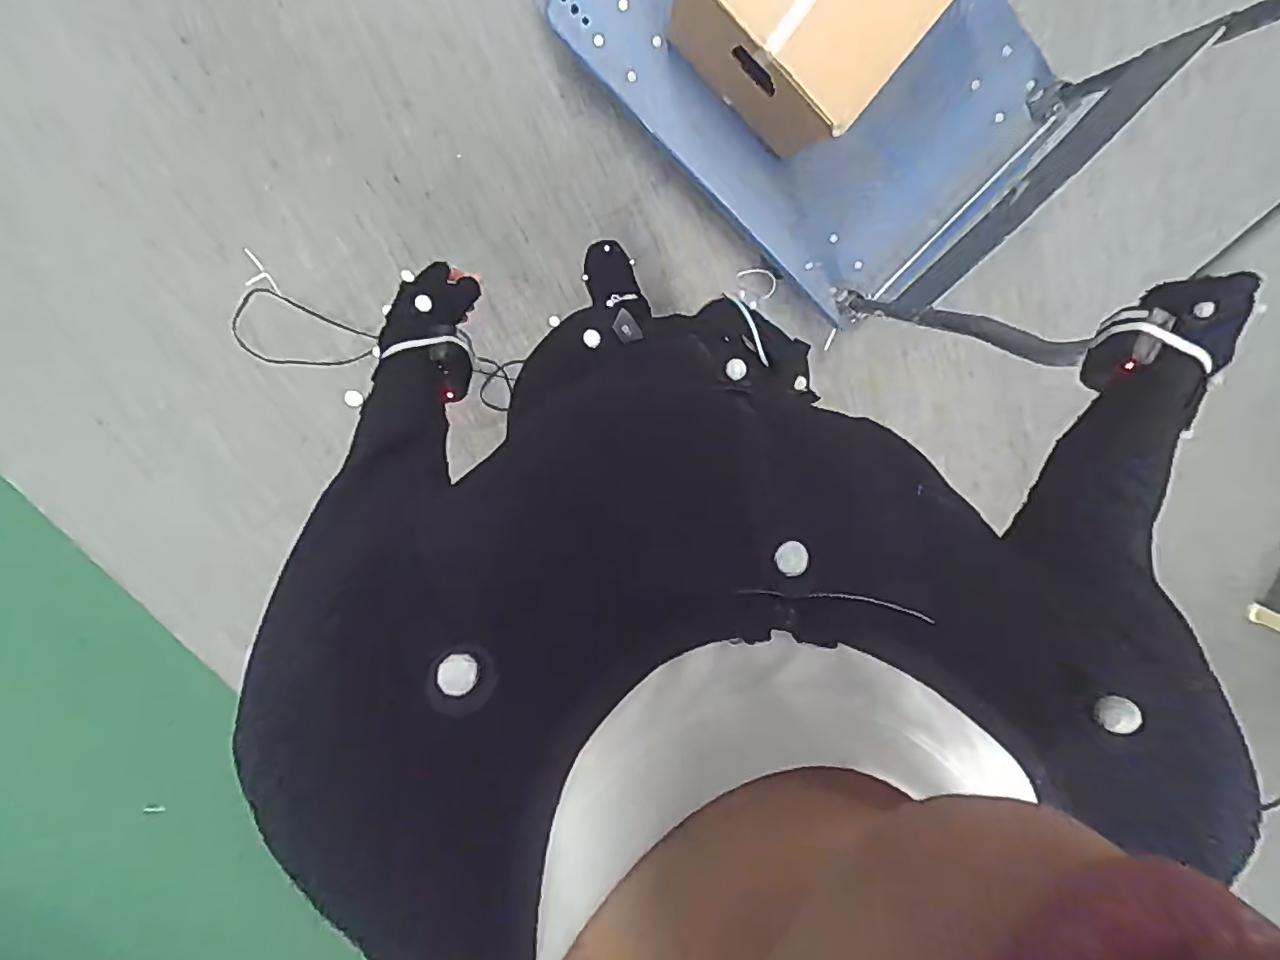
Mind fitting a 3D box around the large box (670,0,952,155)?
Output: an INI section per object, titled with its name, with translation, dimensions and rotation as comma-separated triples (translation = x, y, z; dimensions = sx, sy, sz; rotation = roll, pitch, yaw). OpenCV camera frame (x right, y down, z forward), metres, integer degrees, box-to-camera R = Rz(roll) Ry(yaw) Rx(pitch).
[large box]
translation = 0.295, -0.797, 0.829
dimensions = 0.320, 0.320, 0.408
rotation = 36, 110, -16
